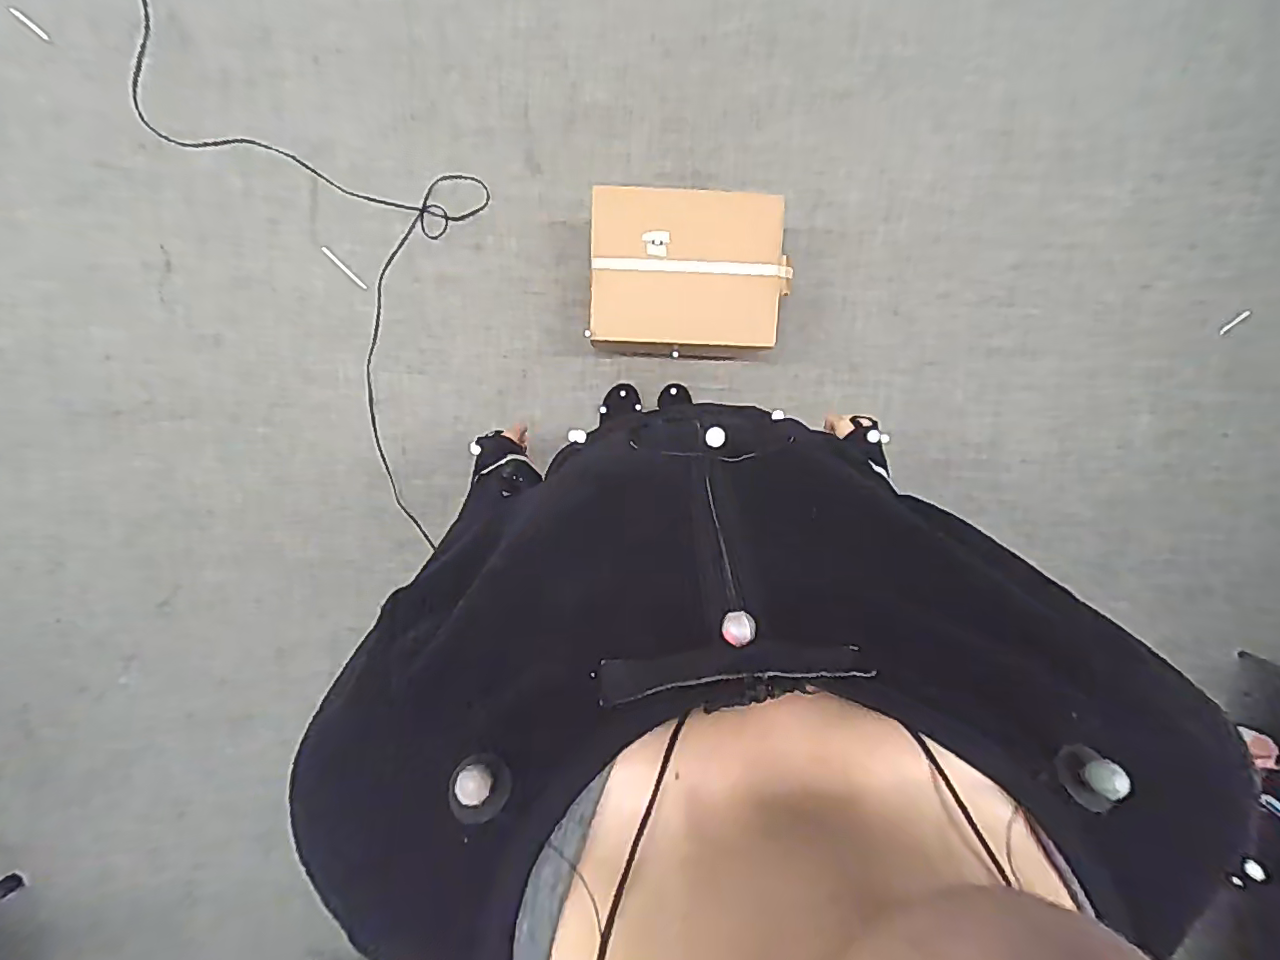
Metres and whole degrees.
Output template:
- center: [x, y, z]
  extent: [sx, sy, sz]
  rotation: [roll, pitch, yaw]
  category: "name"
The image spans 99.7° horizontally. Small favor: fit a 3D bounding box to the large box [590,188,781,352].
- center: [0.093, -0.475, 1.297]
  extent: [0.408, 0.320, 0.320]
  rotation: [2, 98, -2]
  category: "large box"
